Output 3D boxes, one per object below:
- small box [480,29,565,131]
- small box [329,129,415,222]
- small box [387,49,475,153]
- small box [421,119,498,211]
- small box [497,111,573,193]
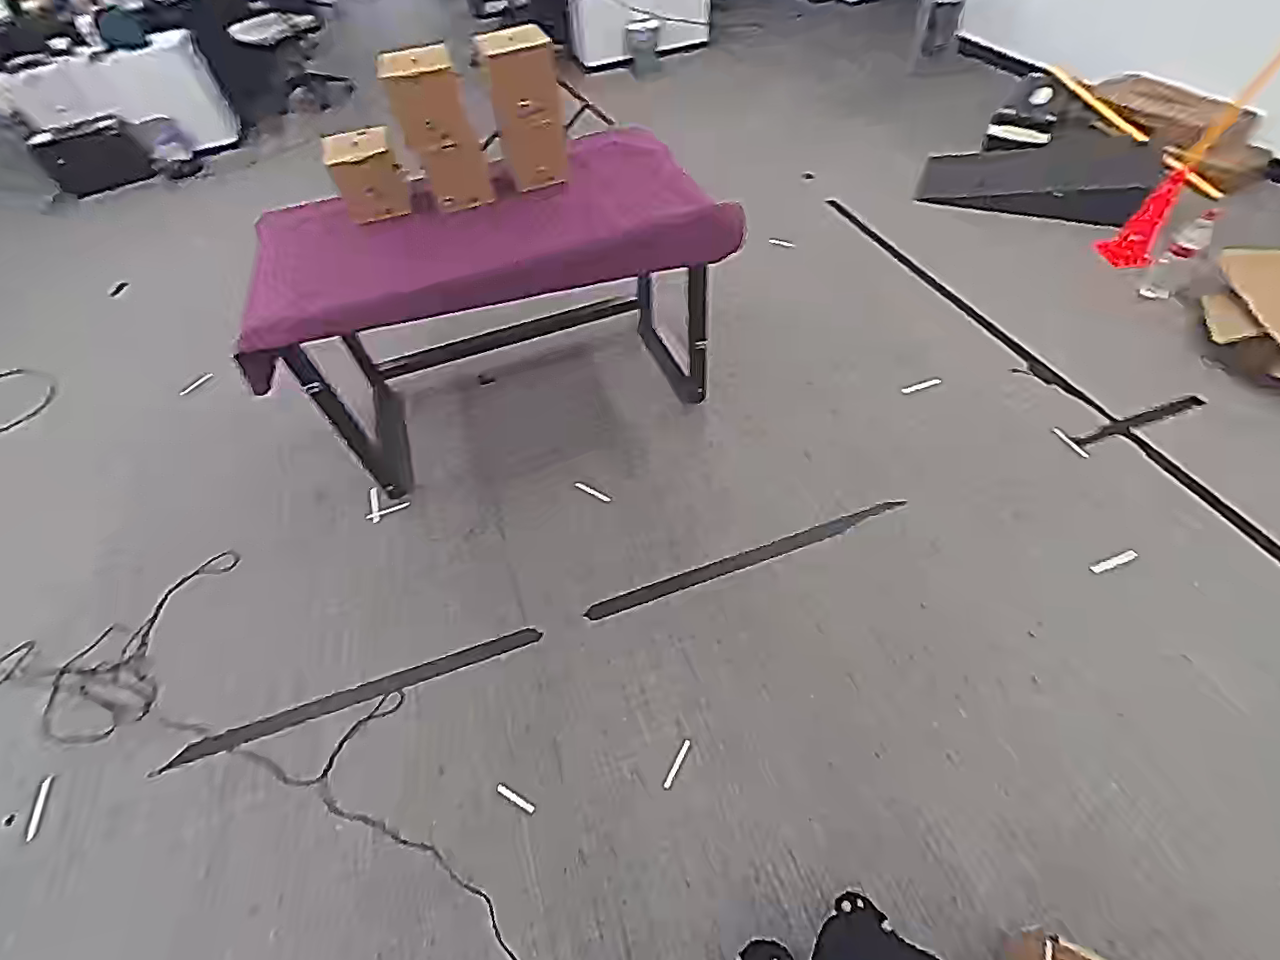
[{"bbox_3d":[-0.313,-1.074,1.453,0.168,0.176,0.179,-20,55,-9],"label":"small box"},{"bbox_3d":[-0.753,-0.855,1.532,0.168,0.176,0.179,-16,56,-7],"label":"small box"},{"bbox_3d":[-0.542,-0.983,1.407,0.168,0.176,0.179,-16,55,-7],"label":"small box"},{"bbox_3d":[-0.515,-0.887,1.536,0.168,0.176,0.179,-18,54,-8],"label":"small box"},{"bbox_3d":[-0.305,-0.972,1.580,0.168,0.176,0.179,-18,55,-7],"label":"small box"}]
